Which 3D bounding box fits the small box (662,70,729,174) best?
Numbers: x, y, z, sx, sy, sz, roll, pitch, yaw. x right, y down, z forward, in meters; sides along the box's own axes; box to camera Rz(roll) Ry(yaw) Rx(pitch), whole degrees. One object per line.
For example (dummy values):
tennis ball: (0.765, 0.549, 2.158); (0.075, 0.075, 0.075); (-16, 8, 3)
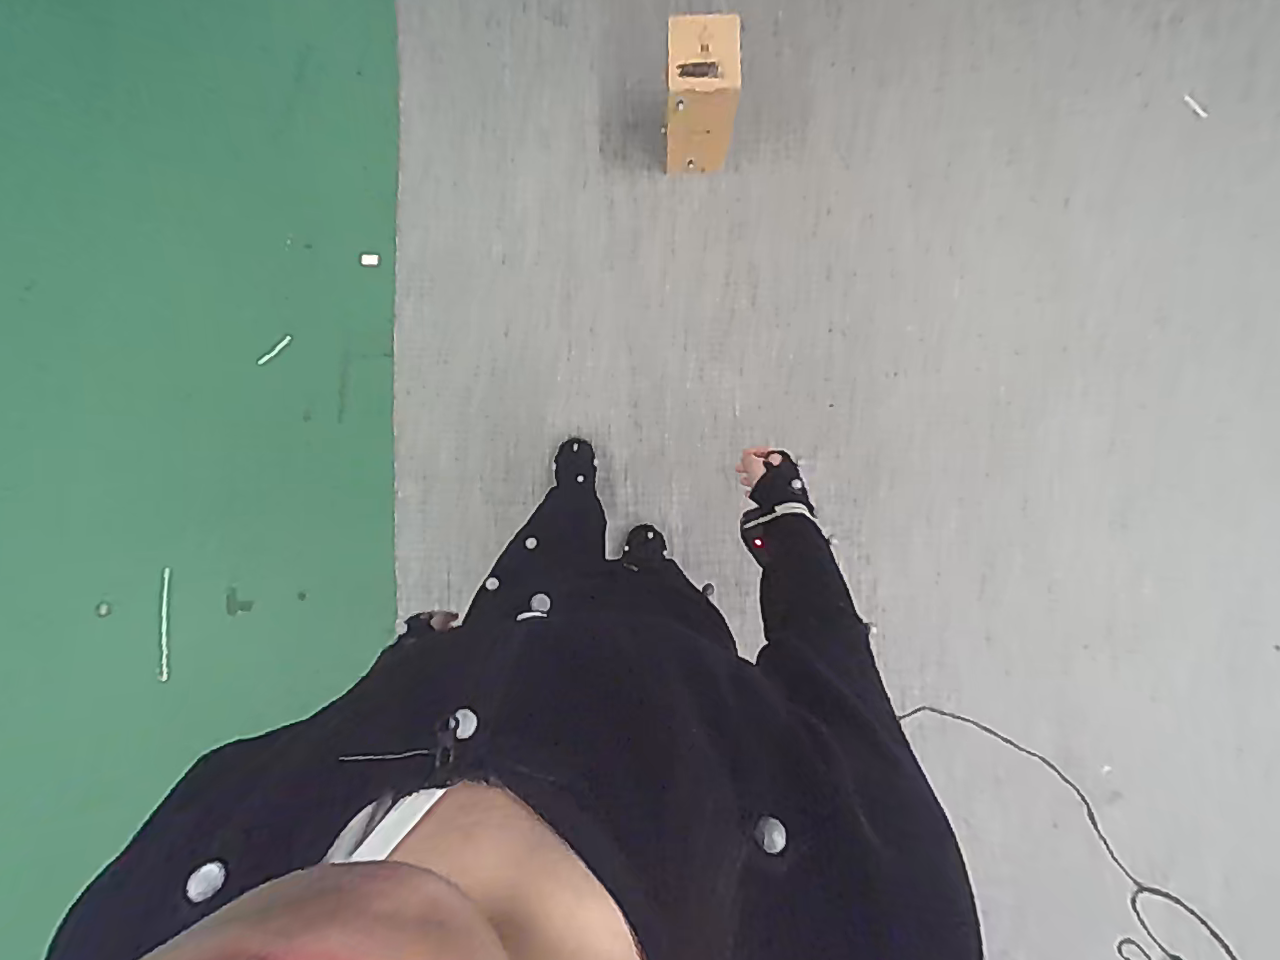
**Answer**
small box: (0.146, -0.971, 1.473); (0.168, 0.176, 0.179); (-1, 89, 0)
